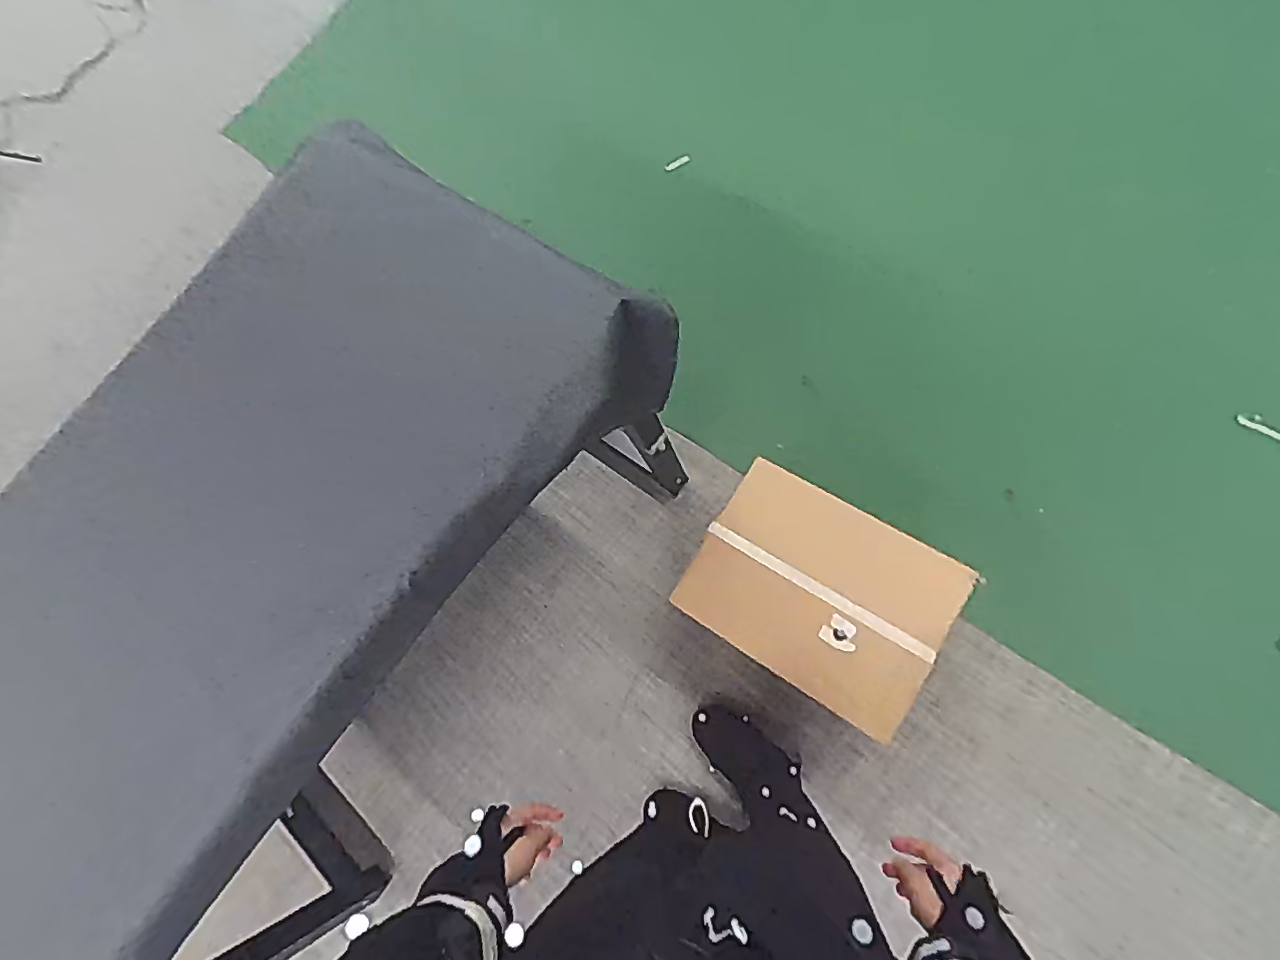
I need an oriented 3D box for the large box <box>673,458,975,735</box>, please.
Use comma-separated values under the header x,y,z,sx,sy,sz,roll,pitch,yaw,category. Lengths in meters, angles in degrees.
x,y,z,sx,sy,sz,roll,pitch,yaw,category
0.324,0.217,1.049,0.408,0.320,0.320,31,82,18,large box
